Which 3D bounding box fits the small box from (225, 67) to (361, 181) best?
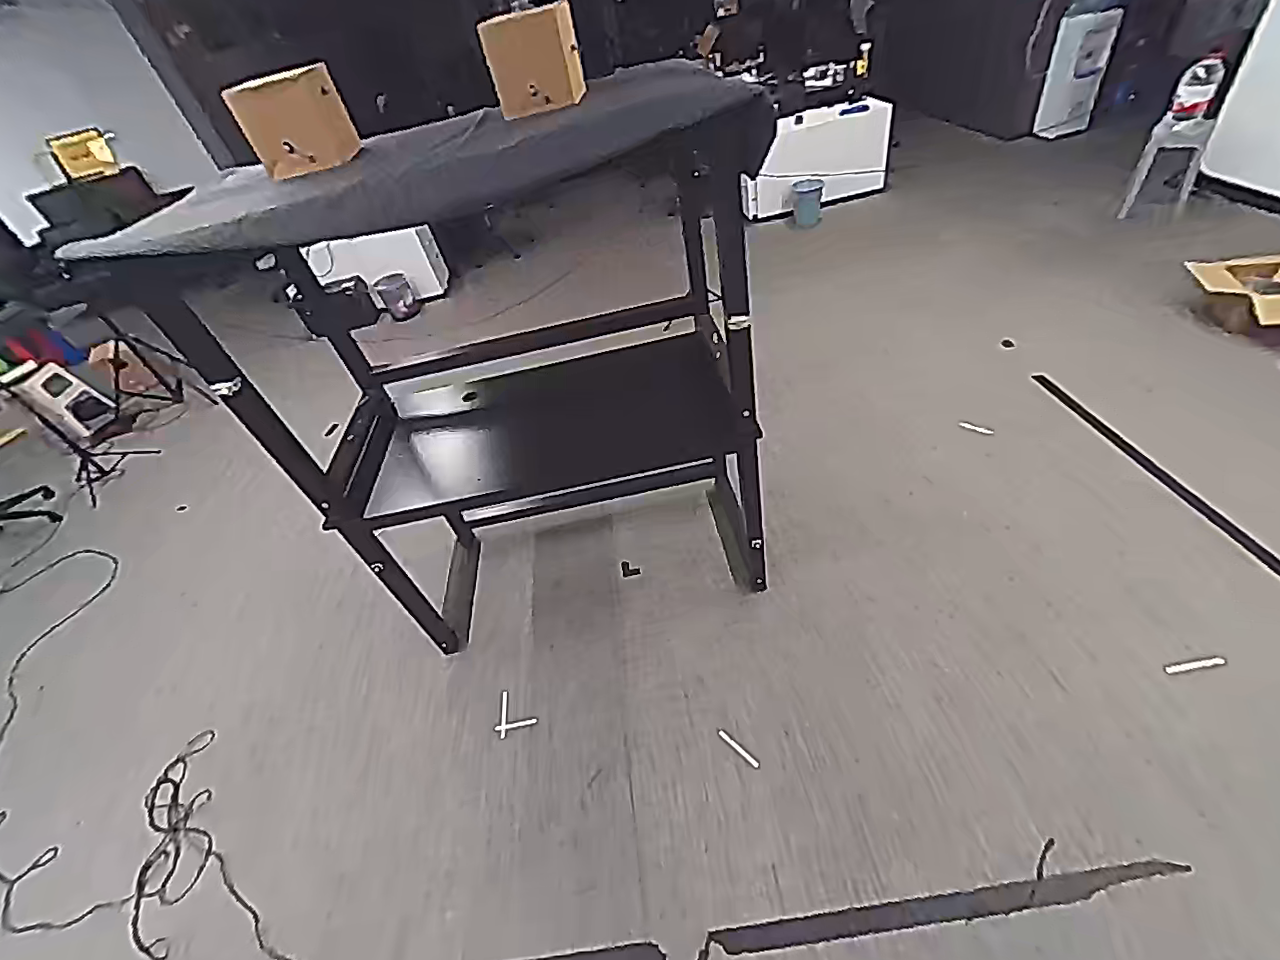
[{"bbox_3d":[-0.745,-0.781,1.188,0.168,0.176,0.179,-13,44,1],"label":"small box"}]
